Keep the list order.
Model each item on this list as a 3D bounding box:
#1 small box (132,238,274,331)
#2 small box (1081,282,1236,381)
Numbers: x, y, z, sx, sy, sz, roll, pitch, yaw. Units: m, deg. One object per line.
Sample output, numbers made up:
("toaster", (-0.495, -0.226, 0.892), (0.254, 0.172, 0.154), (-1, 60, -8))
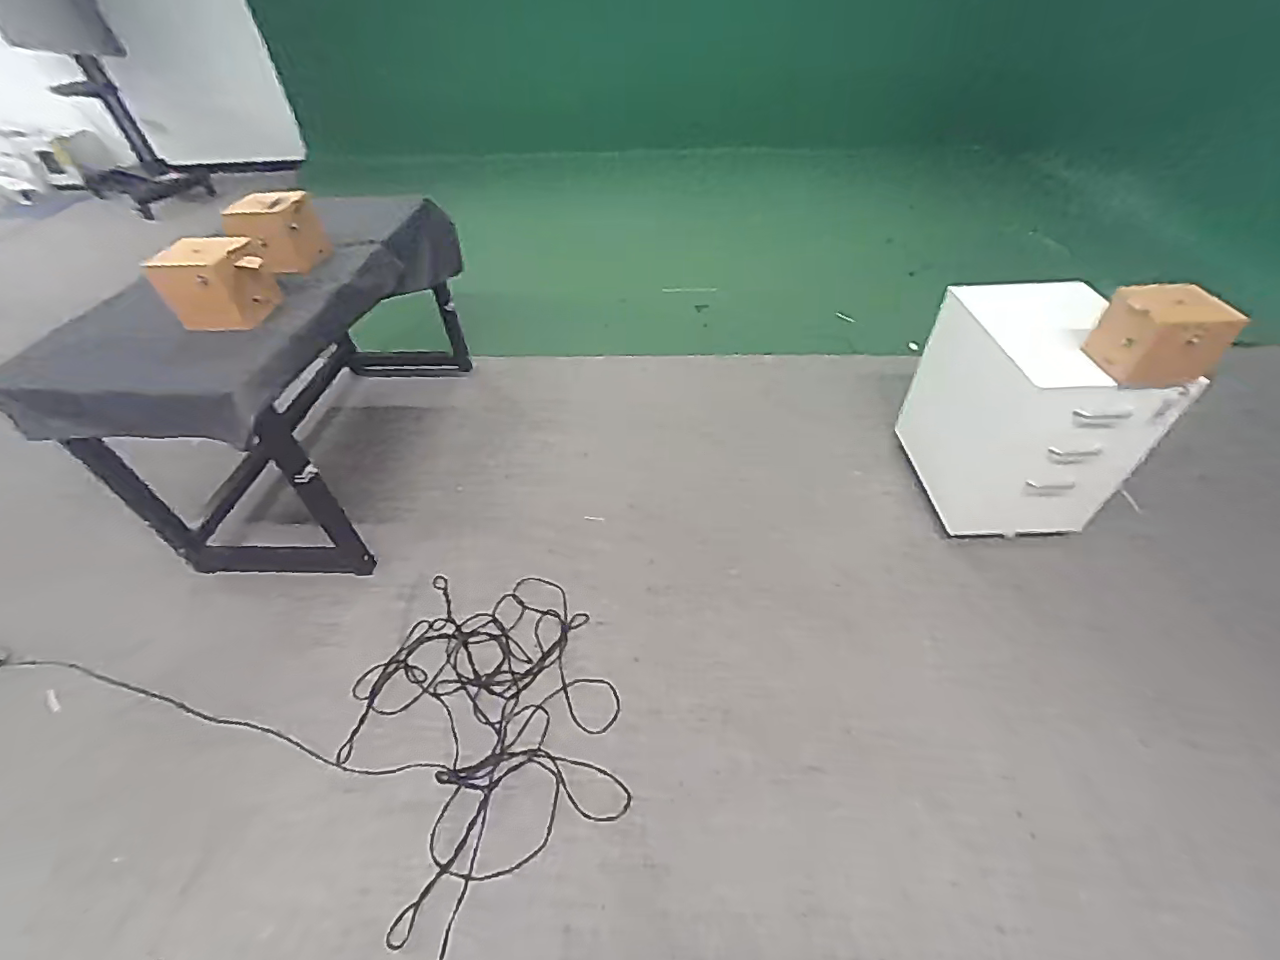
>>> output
("small box", (-1.058, -0.478, 1.328), (0.179, 0.176, 0.168), (0, 45, 3))
("small box", (1.178, -0.341, 1.254), (0.179, 0.176, 0.168), (-2, 46, 1))
